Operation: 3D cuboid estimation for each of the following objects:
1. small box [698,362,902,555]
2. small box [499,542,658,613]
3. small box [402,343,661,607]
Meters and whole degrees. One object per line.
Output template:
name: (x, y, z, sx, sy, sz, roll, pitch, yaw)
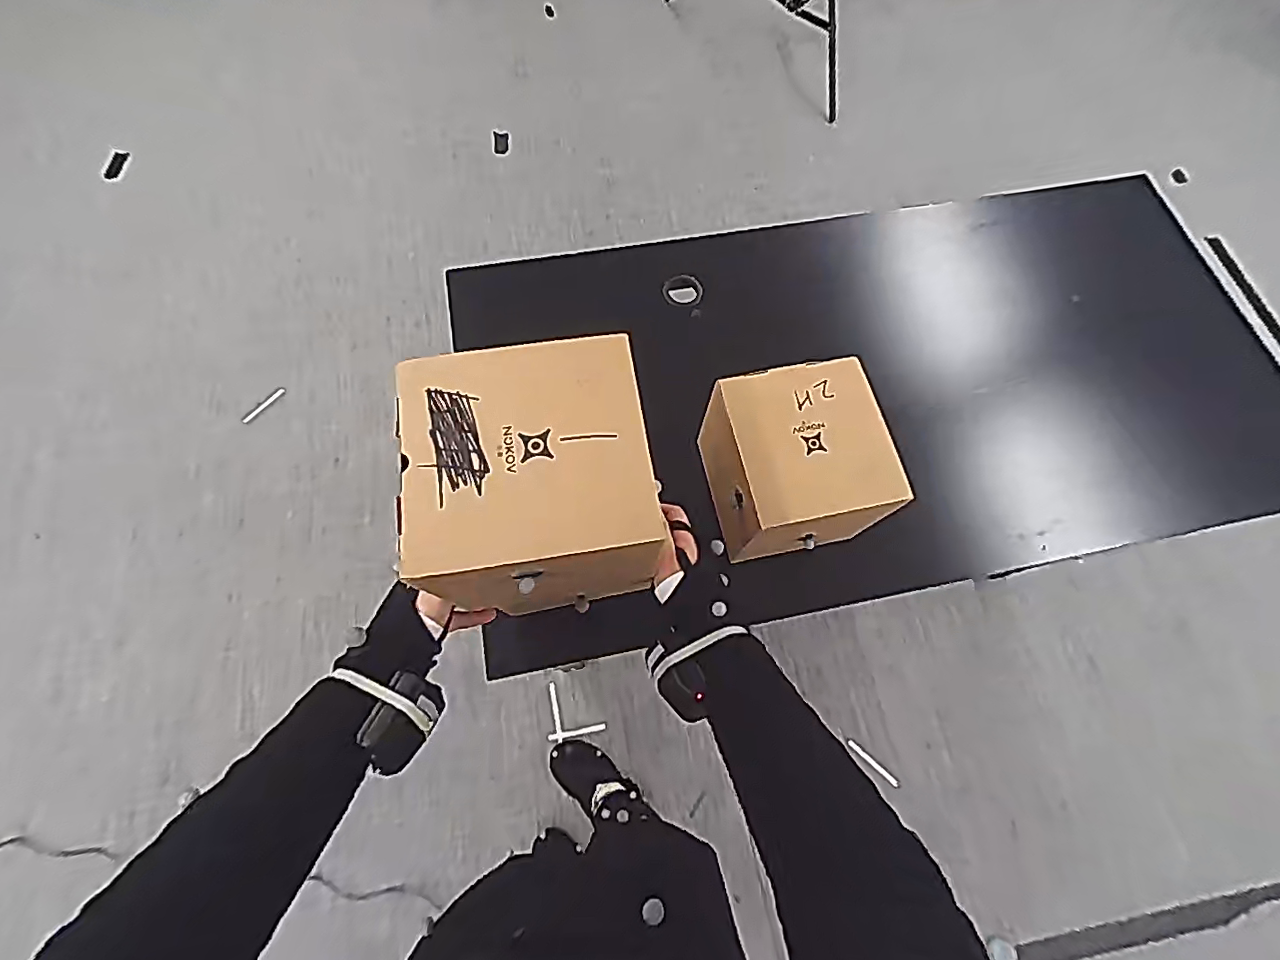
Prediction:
small box: (0.176, -0.014, 0.658, 0.168, 0.176, 0.179, -11, 70, -6)
small box: (-0.086, 0.050, 0.625, 0.179, 0.176, 0.168, -11, 71, -6)
small box: (-0.084, 0.007, 0.465, 0.179, 0.176, 0.168, -8, 71, -5)
